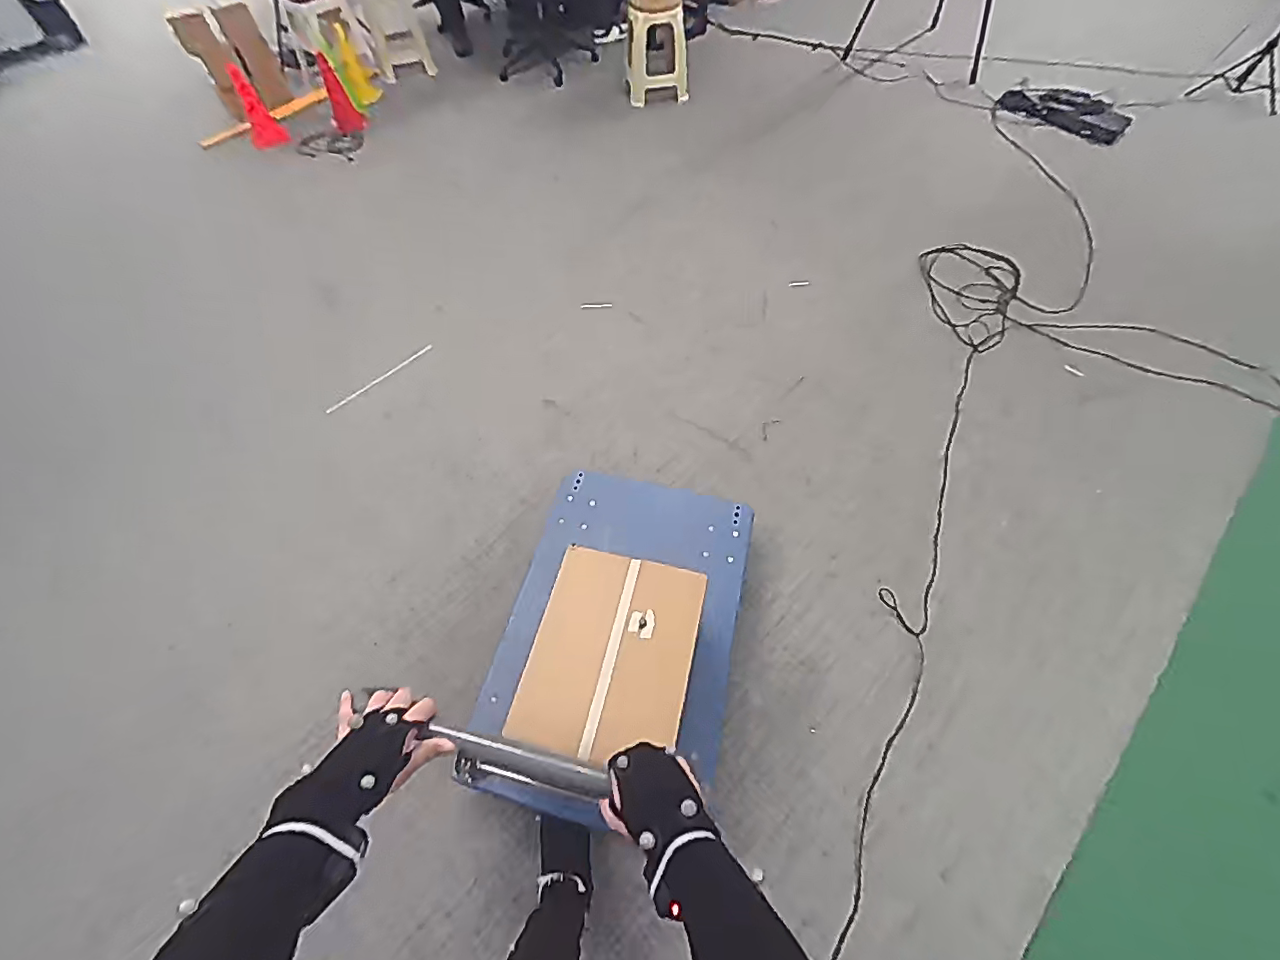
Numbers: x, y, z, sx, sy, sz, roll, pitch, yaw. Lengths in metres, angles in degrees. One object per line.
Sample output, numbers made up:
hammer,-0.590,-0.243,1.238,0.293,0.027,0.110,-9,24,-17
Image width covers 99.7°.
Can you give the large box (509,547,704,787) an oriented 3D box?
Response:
large box,-0.051,0.422,1.211,0.320,0.320,0.408,12,58,8
